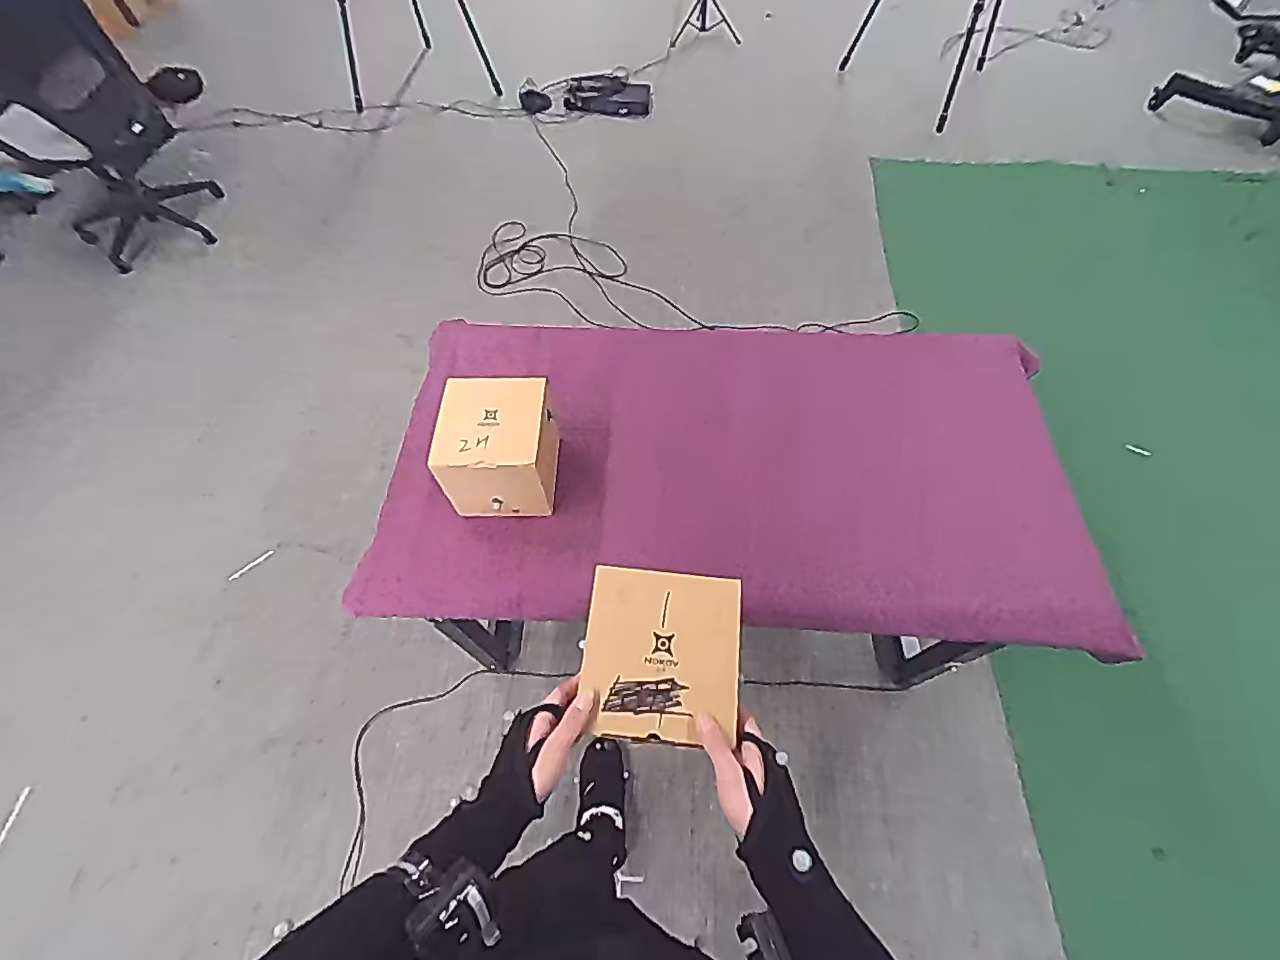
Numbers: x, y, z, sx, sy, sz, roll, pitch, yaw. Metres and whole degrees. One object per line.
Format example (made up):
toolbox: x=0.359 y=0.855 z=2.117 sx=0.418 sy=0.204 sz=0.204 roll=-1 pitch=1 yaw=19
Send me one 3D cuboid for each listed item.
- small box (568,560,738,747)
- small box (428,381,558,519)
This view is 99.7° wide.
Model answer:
small box: x=0.019 y=0.211 z=0.644 sx=0.168 sy=0.176 sz=0.179 roll=6 pitch=64 yaw=3
small box: x=-0.237 y=-0.049 z=0.923 sx=0.168 sy=0.176 sz=0.179 roll=0 pitch=59 yaw=1
